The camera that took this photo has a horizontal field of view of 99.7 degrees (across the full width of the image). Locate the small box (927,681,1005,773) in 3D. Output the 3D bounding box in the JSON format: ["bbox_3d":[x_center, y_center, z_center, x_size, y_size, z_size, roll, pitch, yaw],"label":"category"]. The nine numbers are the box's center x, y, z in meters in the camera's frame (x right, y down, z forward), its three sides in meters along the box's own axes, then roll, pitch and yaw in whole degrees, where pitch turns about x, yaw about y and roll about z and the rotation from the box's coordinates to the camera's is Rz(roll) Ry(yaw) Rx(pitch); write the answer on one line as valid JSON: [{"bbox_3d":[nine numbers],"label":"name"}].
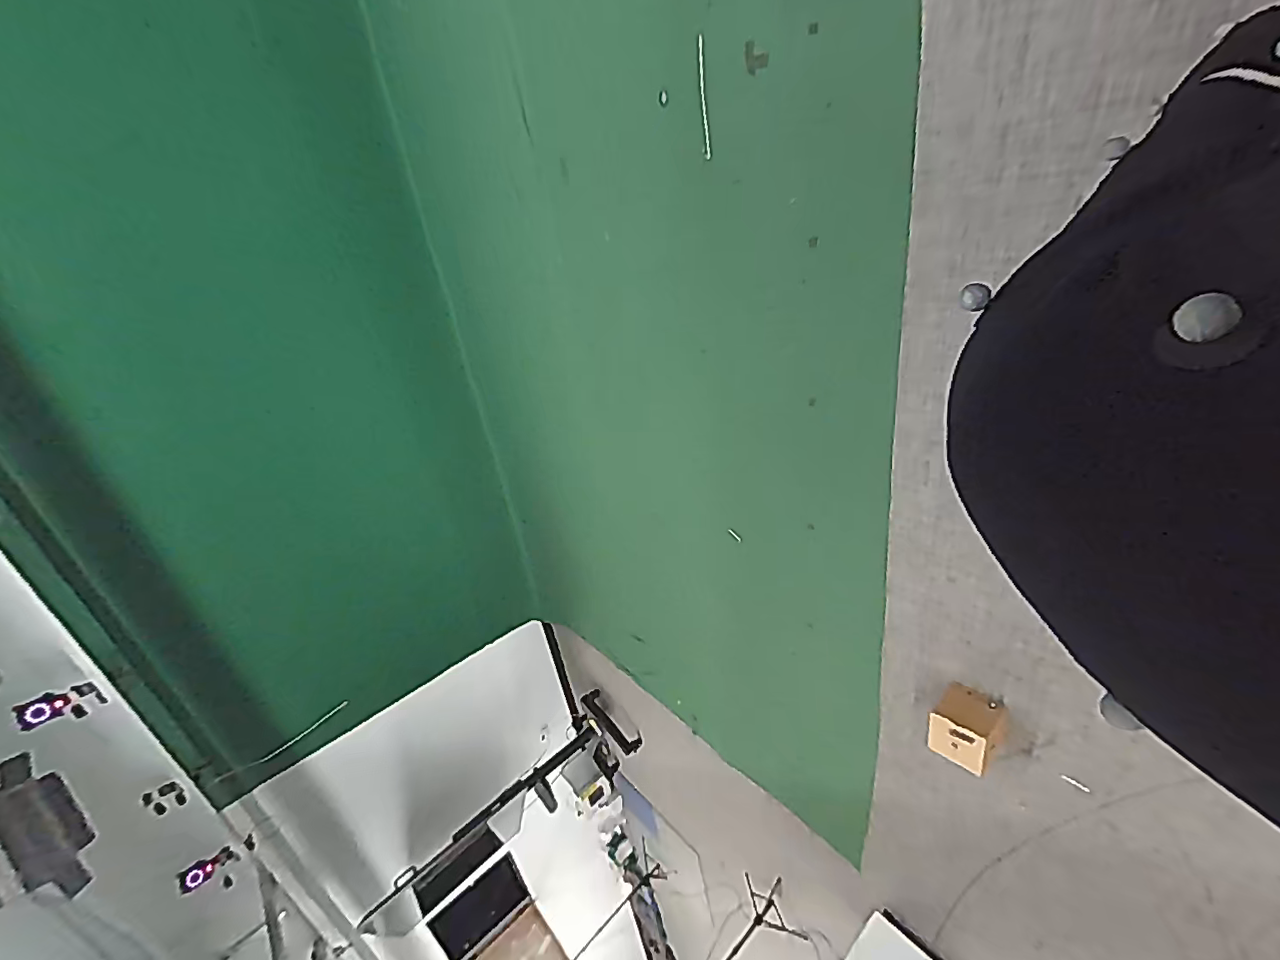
[{"bbox_3d":[1.065,0.797,1.765,0.168,0.176,0.179,20,129,48],"label":"small box"}]
